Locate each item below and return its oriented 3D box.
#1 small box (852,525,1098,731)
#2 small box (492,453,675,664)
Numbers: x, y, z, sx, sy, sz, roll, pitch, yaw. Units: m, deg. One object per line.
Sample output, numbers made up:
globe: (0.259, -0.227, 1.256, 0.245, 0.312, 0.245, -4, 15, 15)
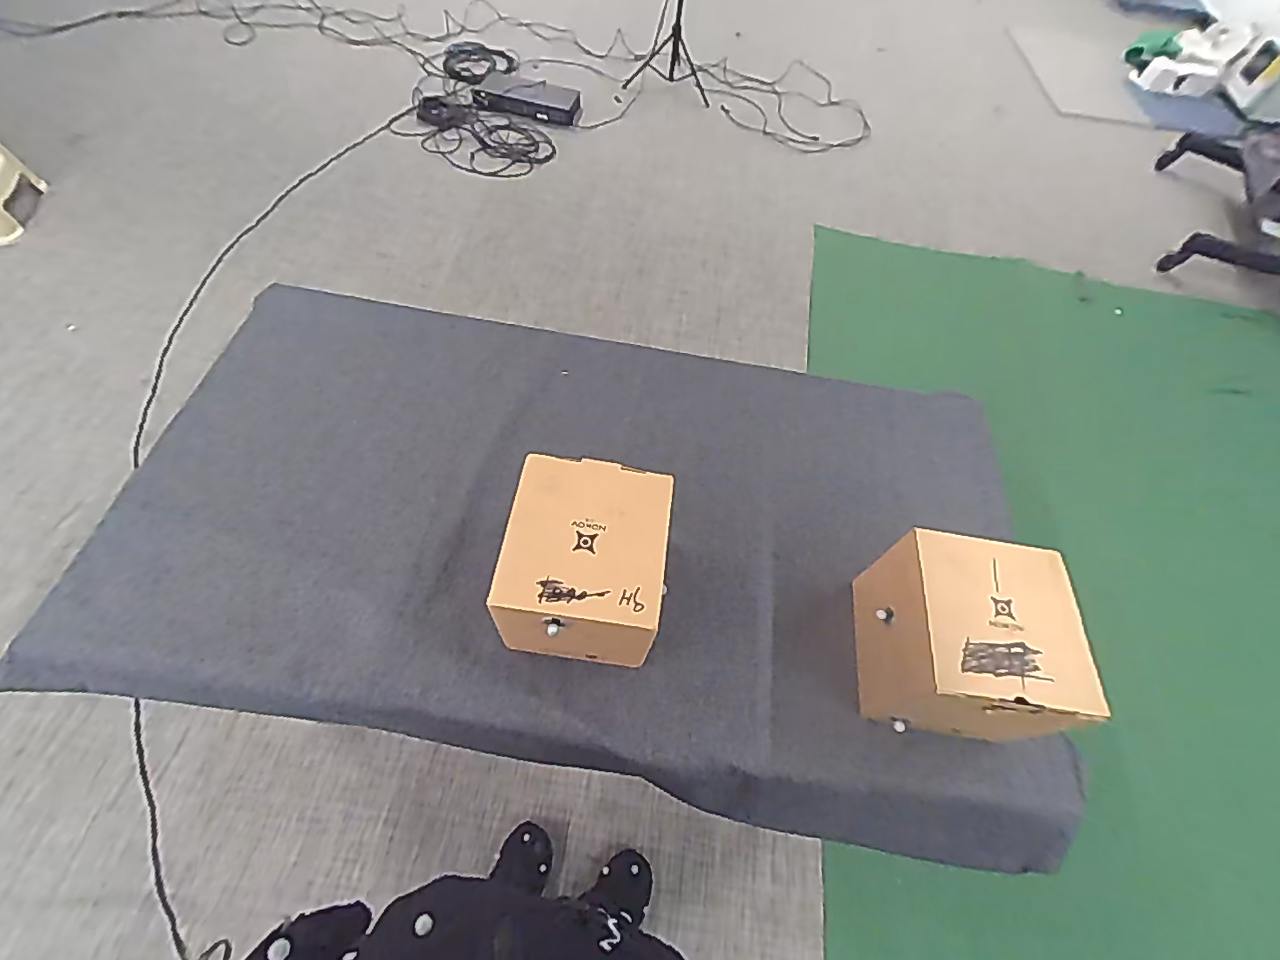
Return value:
small box: (0.359, 0.177, 0.622, 0.168, 0.176, 0.179, 10, 58, 0)
small box: (-0.060, 0.096, 0.628, 0.168, 0.176, 0.179, 9, 58, -1)
